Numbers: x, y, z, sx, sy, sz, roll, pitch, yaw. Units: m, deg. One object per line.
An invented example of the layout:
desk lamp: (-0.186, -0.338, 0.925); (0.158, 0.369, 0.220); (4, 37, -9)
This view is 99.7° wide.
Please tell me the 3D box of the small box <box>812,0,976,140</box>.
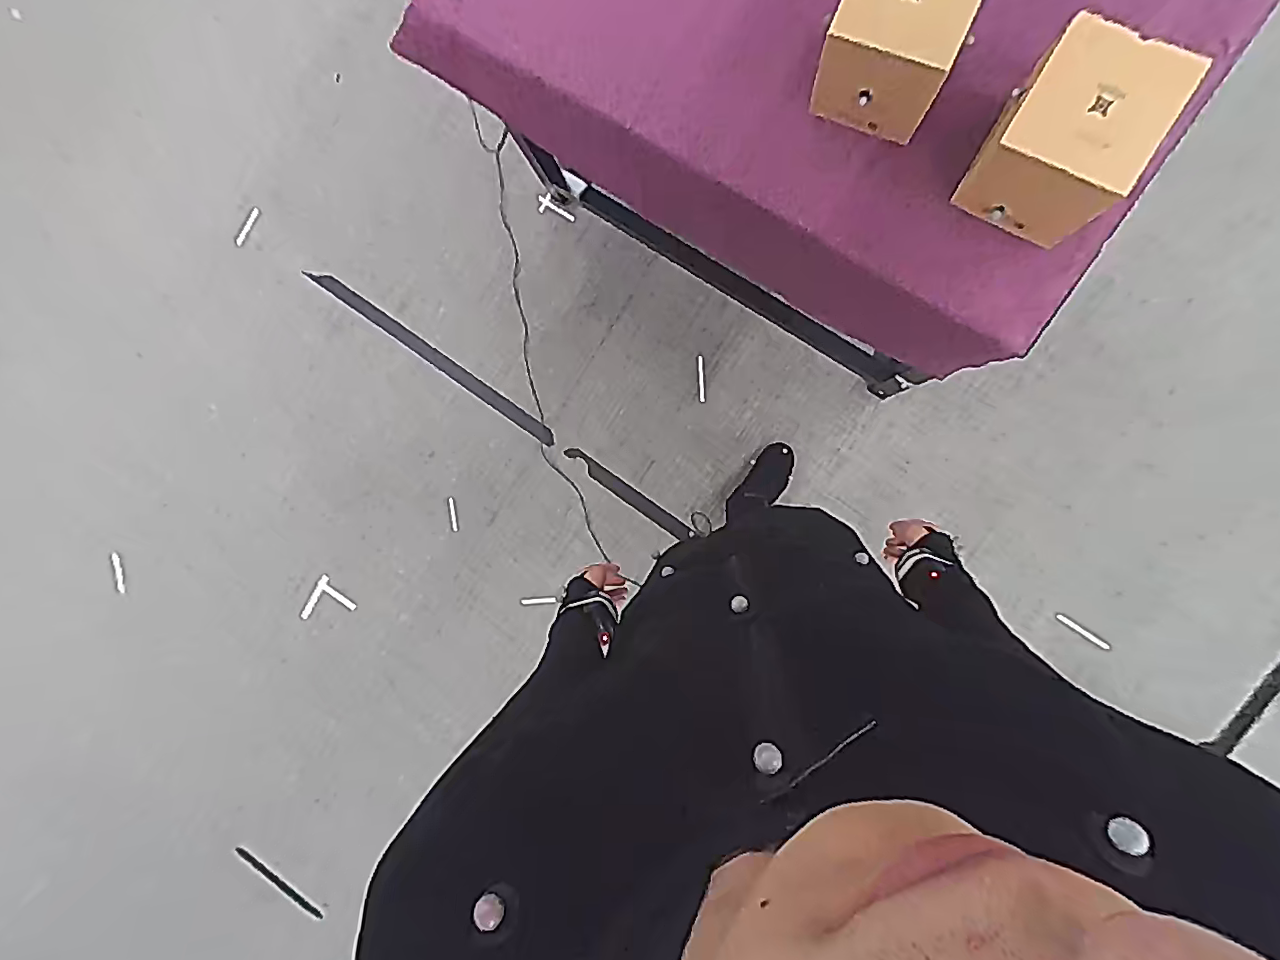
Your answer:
small box: (0.360, -0.633, 0.771); (0.168, 0.176, 0.179); (24, 95, 7)

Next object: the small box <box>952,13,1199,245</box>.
small box: (0.572, -0.465, 0.743); (0.168, 0.176, 0.179); (30, 95, 8)
